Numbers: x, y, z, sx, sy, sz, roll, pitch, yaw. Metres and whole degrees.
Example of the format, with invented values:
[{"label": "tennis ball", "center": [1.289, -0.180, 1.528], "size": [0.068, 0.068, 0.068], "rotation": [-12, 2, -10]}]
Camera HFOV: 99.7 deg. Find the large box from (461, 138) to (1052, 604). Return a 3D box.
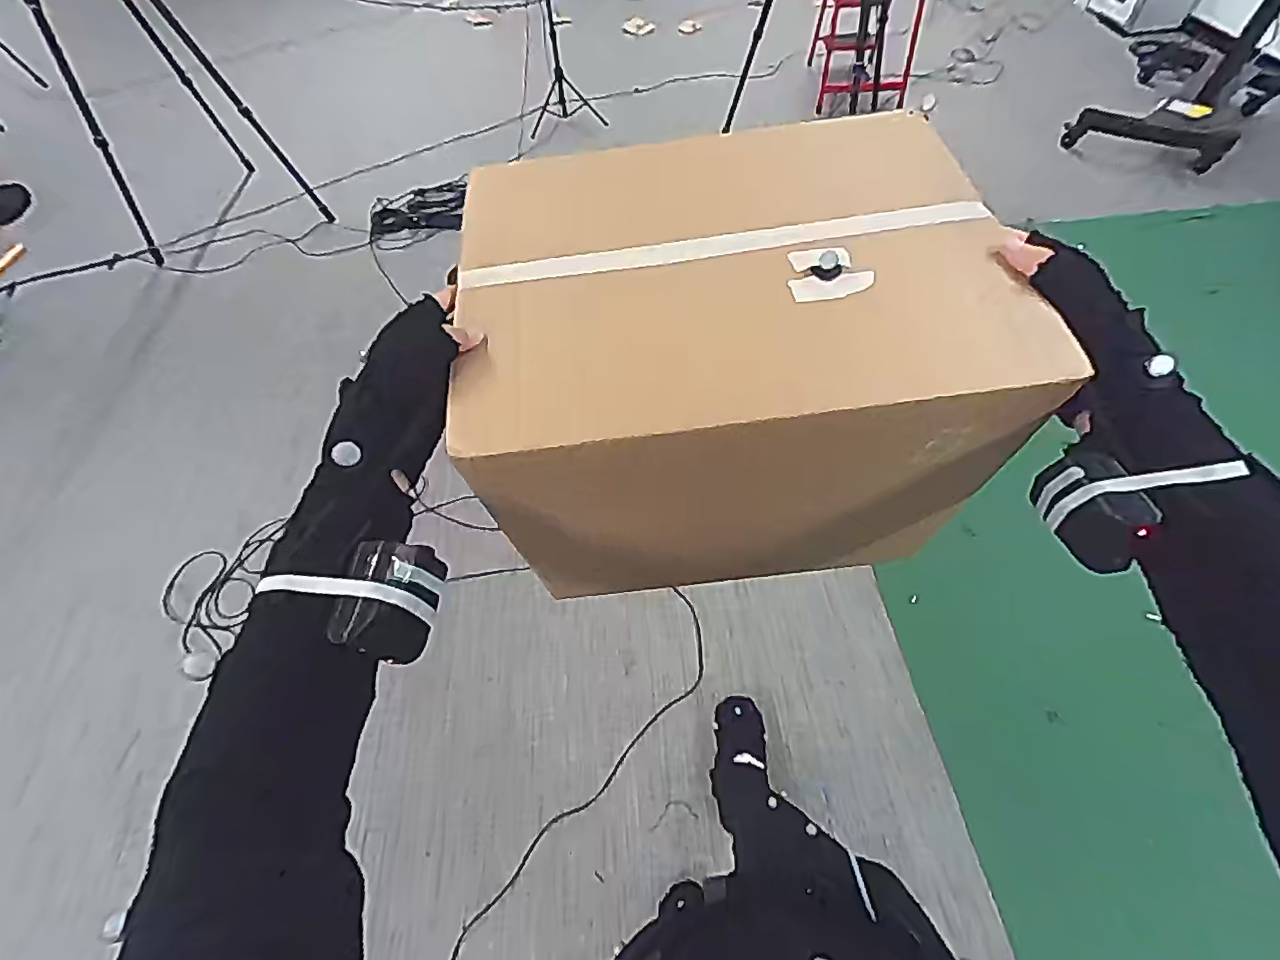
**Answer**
[{"label": "large box", "center": [0.069, -0.088, 0.557], "size": [0.408, 0.320, 0.320], "rotation": [-7, 60, 1]}]
